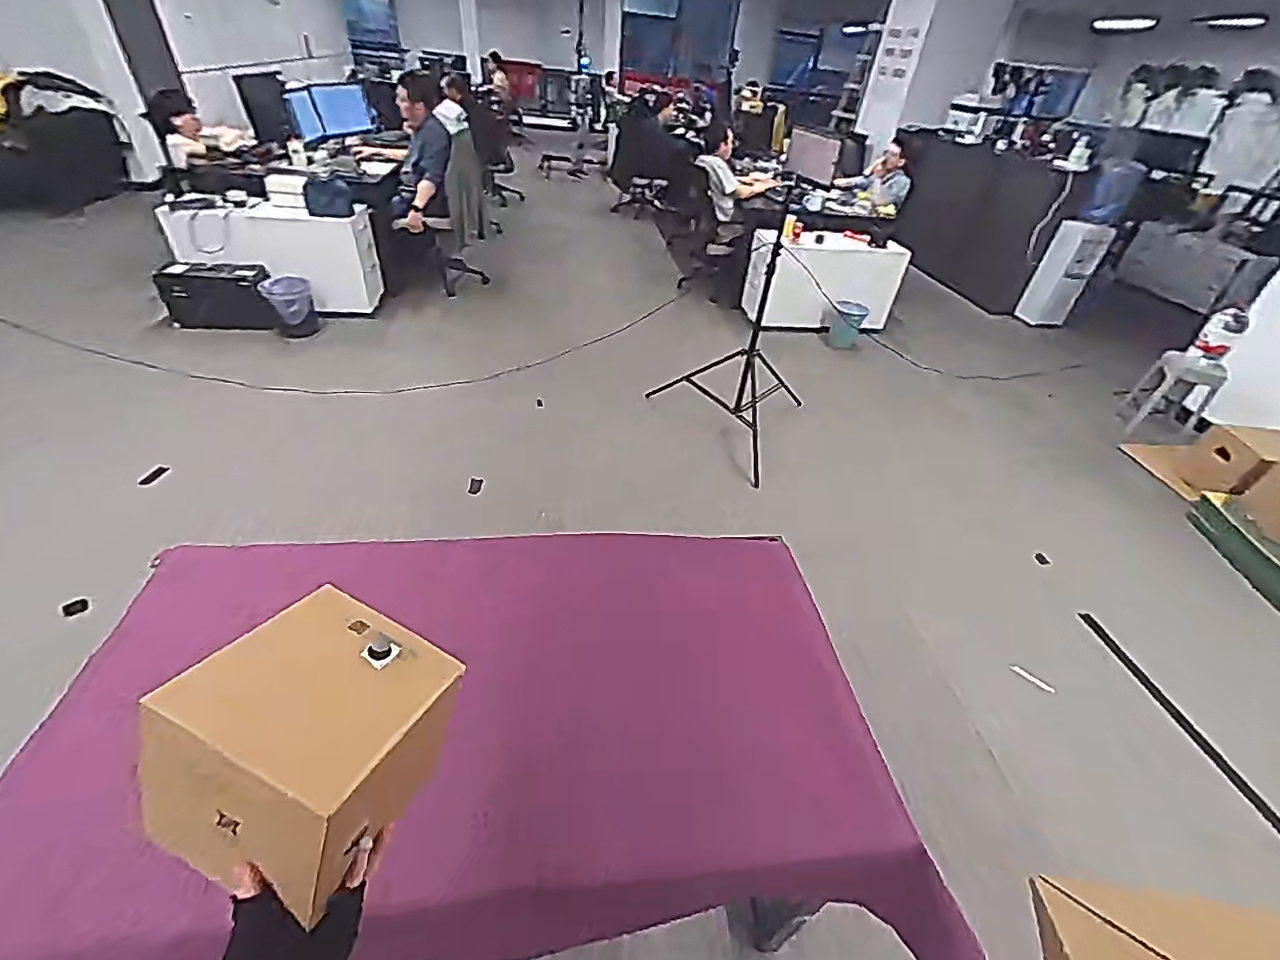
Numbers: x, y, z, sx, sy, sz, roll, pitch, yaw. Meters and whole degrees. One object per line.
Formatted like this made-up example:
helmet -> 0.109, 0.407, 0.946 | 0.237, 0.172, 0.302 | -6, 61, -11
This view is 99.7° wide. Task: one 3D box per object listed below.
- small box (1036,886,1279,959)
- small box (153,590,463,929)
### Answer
small box -> 0.274, 0.286, 0.203 | 0.168, 0.176, 0.179 | -9, -12, 25
small box -> -0.286, 0.236, 0.491 | 0.168, 0.179, 0.176 | 24, 24, 8
